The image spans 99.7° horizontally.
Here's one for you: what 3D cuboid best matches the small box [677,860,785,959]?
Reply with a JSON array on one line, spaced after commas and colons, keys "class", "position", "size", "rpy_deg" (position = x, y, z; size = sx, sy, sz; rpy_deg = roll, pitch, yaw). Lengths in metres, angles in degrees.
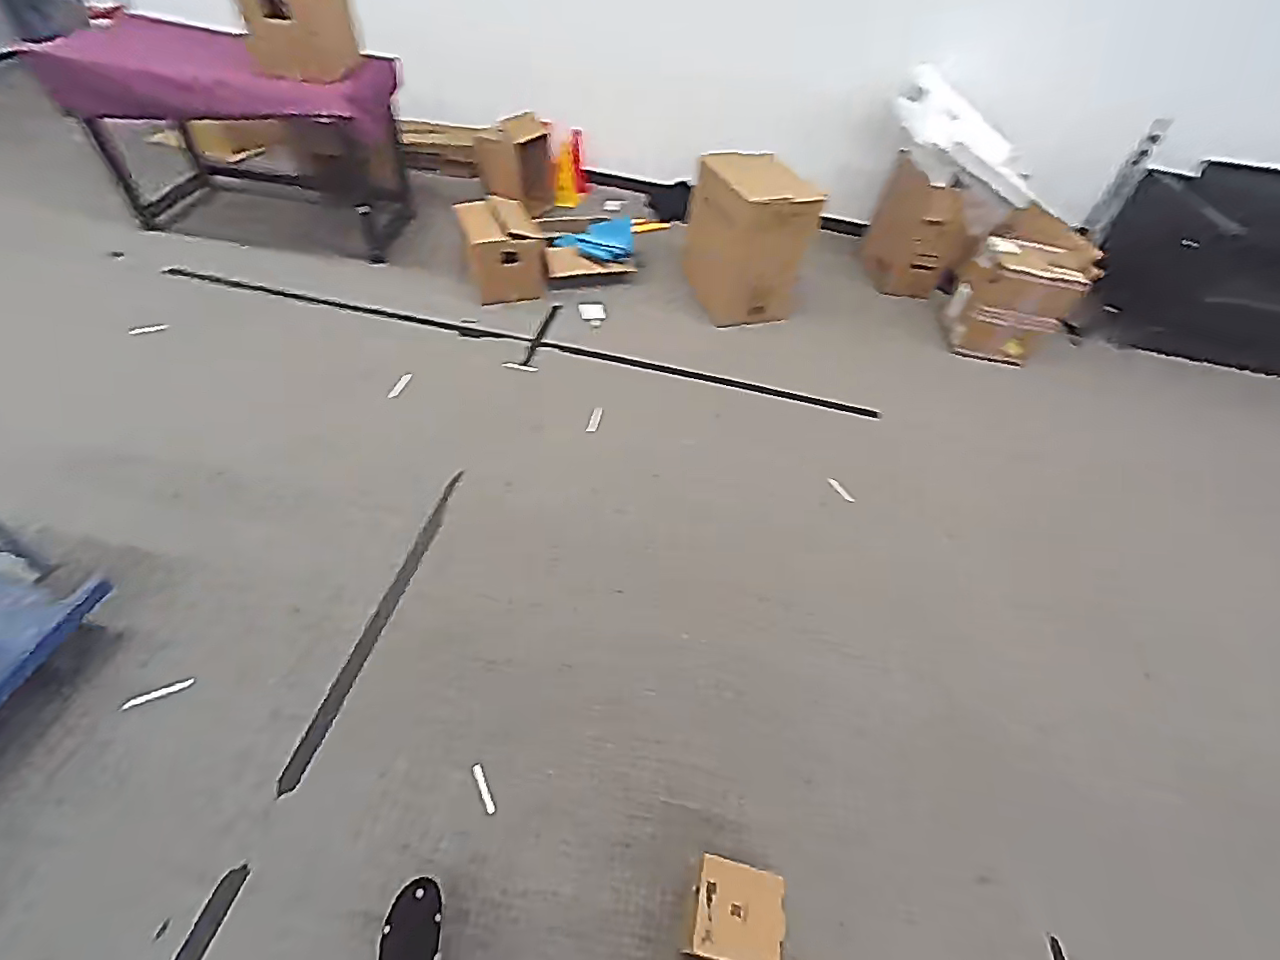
[{"class": "small box", "position": [0.191, 0.937, 1.145], "size": [0.179, 0.176, 0.168], "rpy_deg": [16, 47, 4]}]
